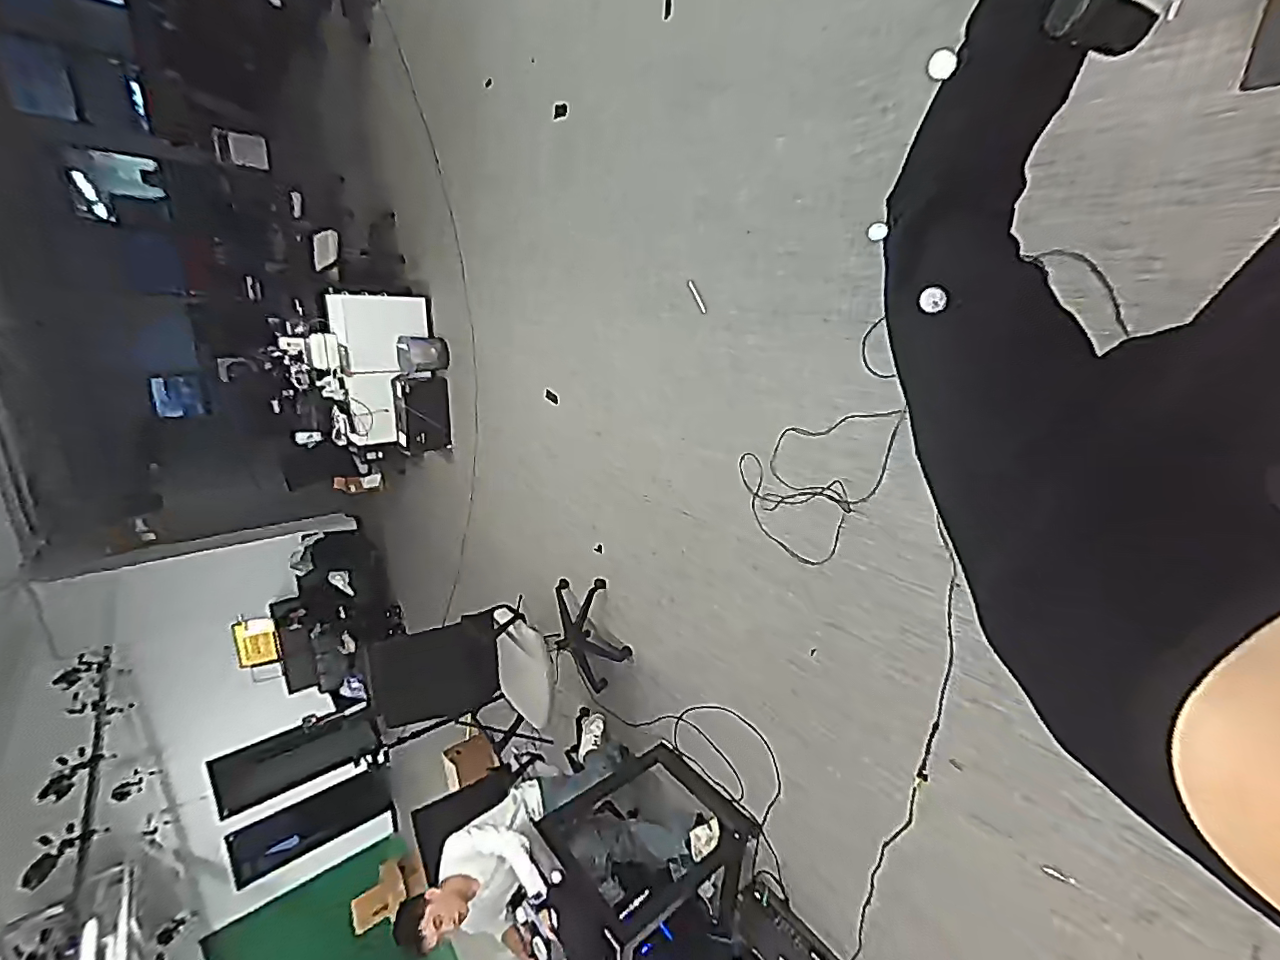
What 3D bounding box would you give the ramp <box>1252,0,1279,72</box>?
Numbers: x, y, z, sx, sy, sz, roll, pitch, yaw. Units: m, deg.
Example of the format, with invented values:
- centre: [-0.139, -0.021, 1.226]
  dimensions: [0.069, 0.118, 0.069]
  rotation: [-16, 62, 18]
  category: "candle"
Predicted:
- centre: [1.169, -1.093, 0.561]
  dimensions: [0.509, 0.206, 0.991]
  rotation: [19, 115, 46]
  category: "ramp"
